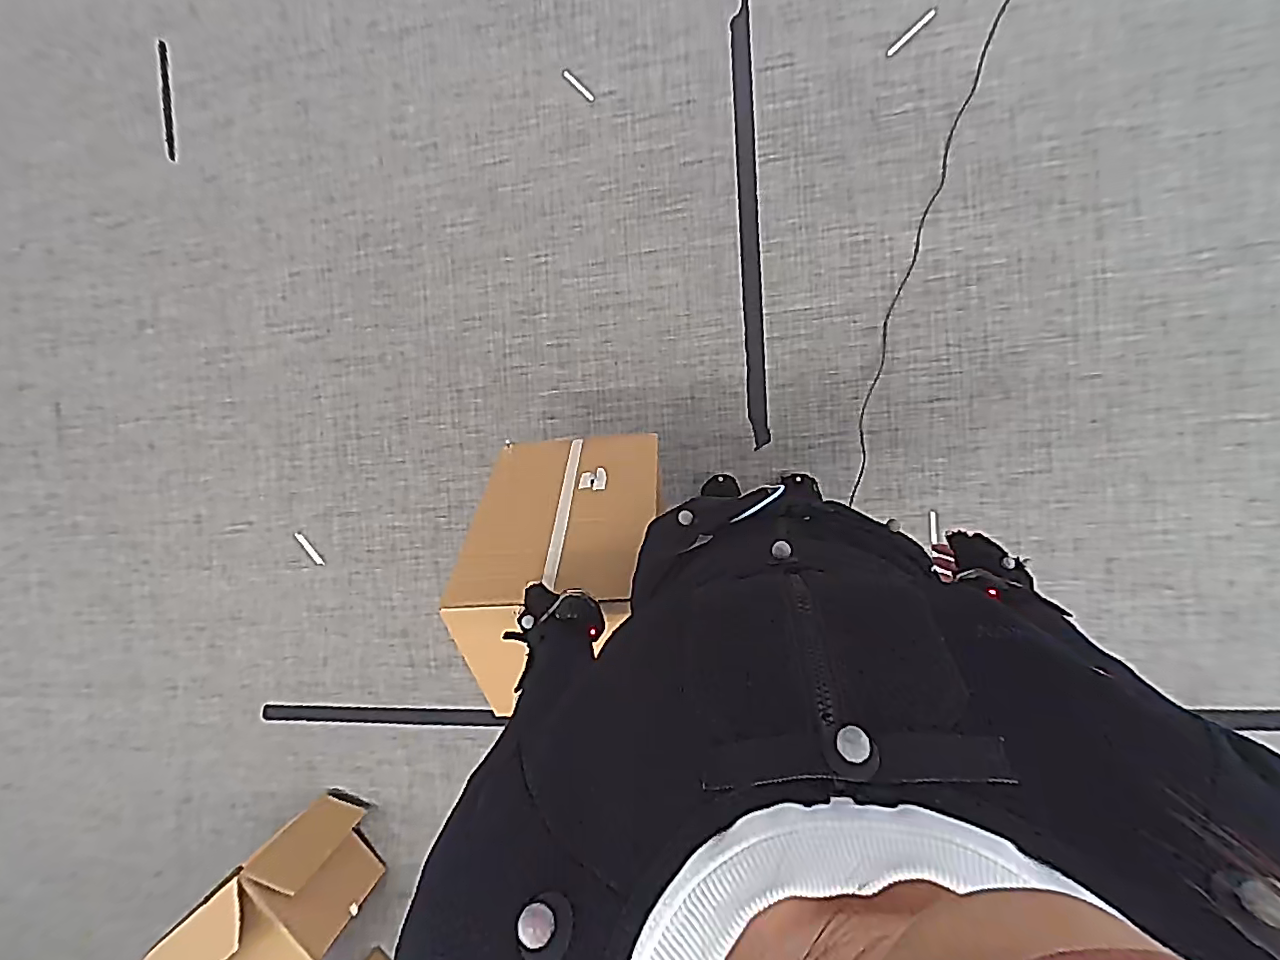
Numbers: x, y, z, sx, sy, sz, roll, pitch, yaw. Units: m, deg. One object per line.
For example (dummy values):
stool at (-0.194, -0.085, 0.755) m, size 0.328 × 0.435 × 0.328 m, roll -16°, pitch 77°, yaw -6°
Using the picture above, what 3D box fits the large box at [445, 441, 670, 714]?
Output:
large box at (-0.113, 0.173, 1.019) m, size 0.320 × 0.408 × 0.320 m, roll -3°, pitch 128°, yaw 6°
